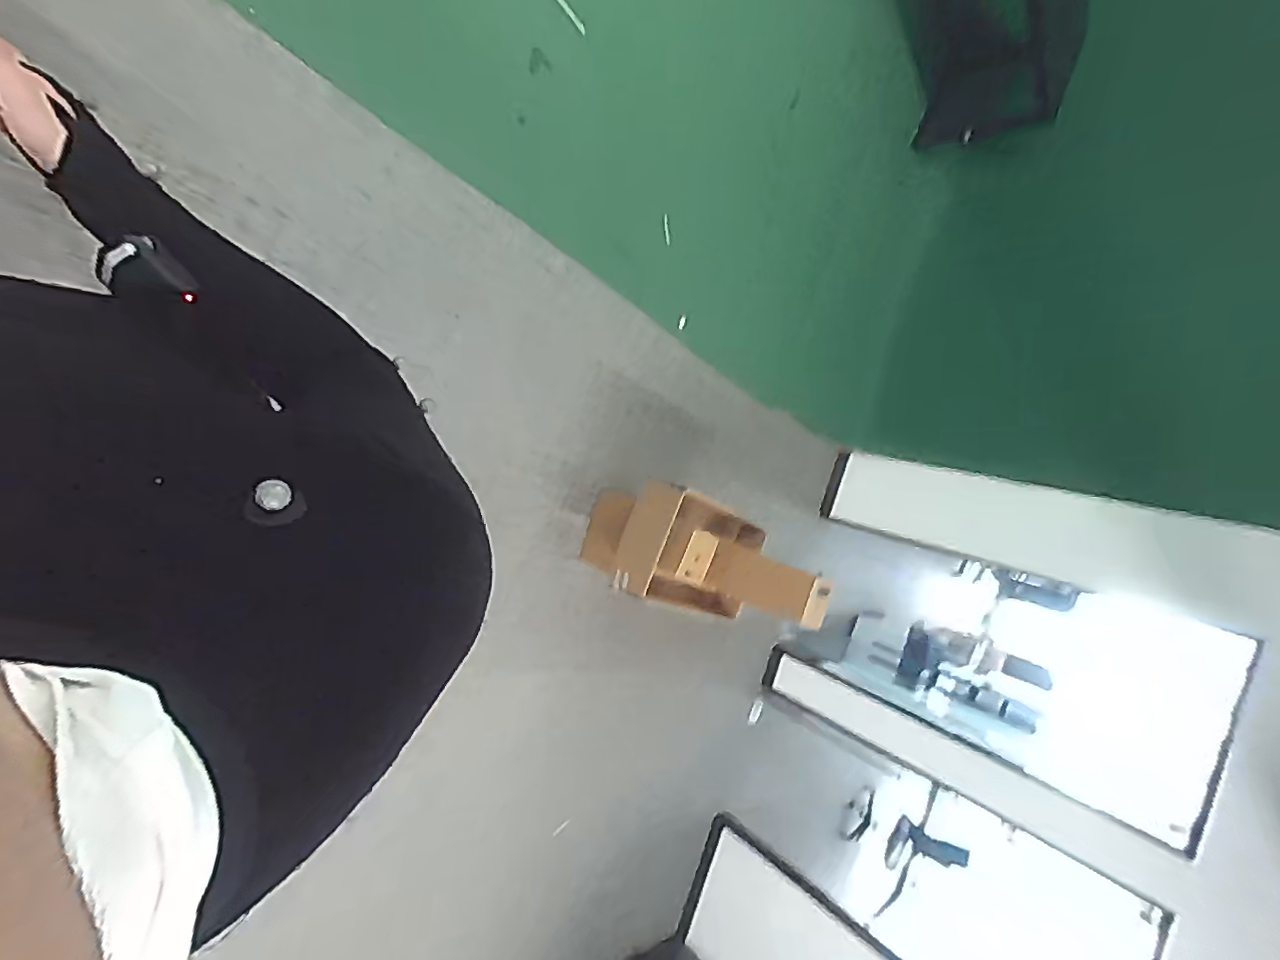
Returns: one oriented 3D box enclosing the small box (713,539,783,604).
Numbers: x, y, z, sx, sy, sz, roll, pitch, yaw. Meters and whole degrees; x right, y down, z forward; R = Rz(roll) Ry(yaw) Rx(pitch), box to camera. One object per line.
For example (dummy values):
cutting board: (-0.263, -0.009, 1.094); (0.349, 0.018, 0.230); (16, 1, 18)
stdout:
small box: (0.391, 0.333, 1.977); (0.168, 0.176, 0.179); (23, 86, -47)

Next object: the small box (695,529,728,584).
small box: (0.279, 0.296, 2.091); (0.168, 0.176, 0.179); (25, 85, -47)

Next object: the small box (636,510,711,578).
small box: (0.114, 0.220, 1.889); (0.168, 0.176, 0.179); (28, 83, -48)

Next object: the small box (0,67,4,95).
small box: (-0.586, -0.381, 0.367); (0.179, 0.176, 0.168); (-16, 114, -41)
